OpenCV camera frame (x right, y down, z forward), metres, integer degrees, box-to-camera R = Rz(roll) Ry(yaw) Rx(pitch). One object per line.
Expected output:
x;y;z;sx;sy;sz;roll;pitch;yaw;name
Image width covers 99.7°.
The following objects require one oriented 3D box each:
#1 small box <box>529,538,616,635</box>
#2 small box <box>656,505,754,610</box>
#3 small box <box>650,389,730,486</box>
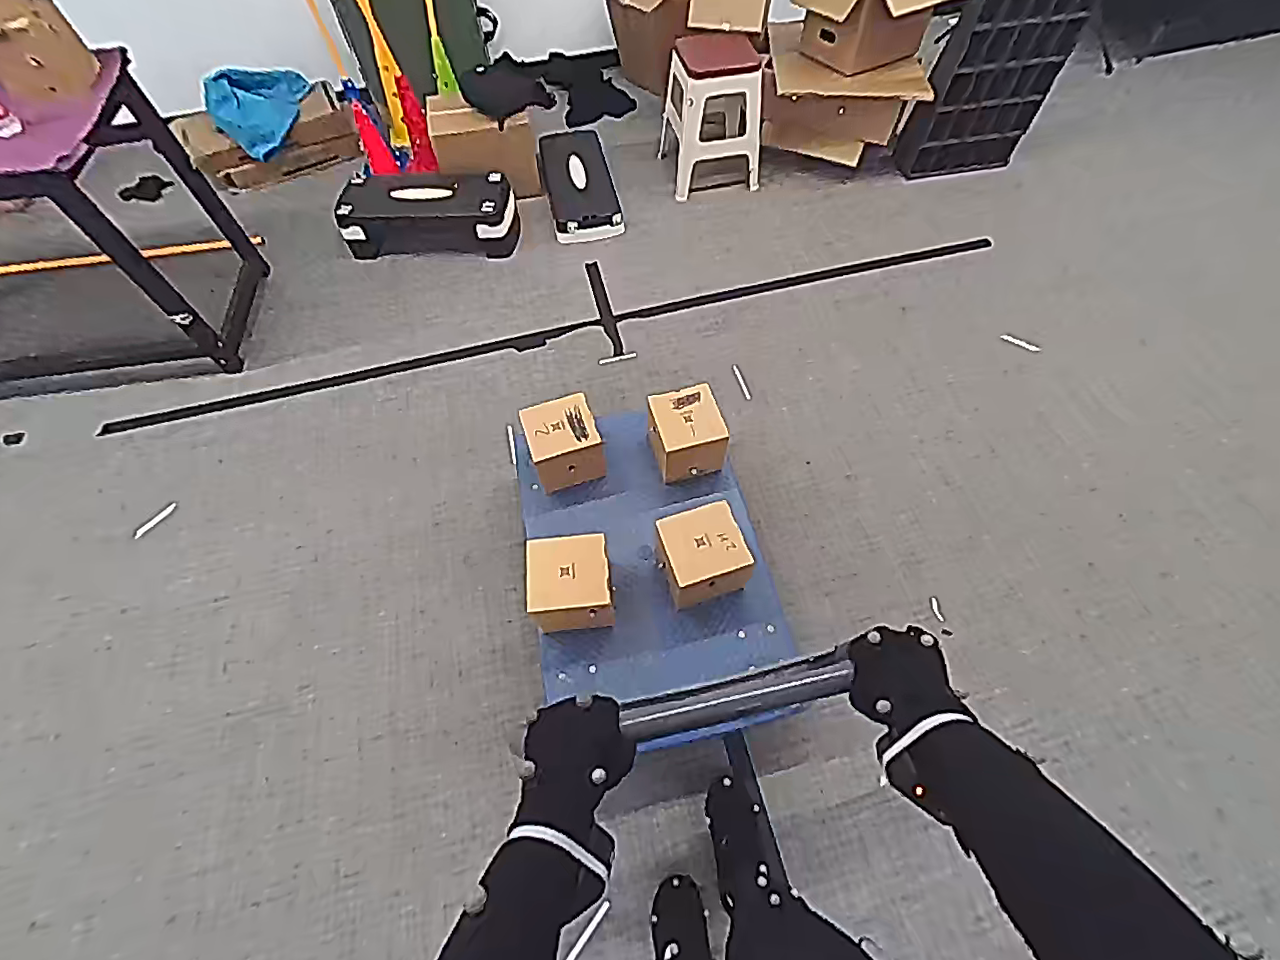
-0.151;0.248;1.236;0.179;0.176;0.168;-6;60;-4;small box
0.146;0.186;1.264;0.179;0.176;0.168;-16;62;-8;small box
0.124;-0.110;1.430;0.168;0.176;0.179;-14;62;-6;small box
